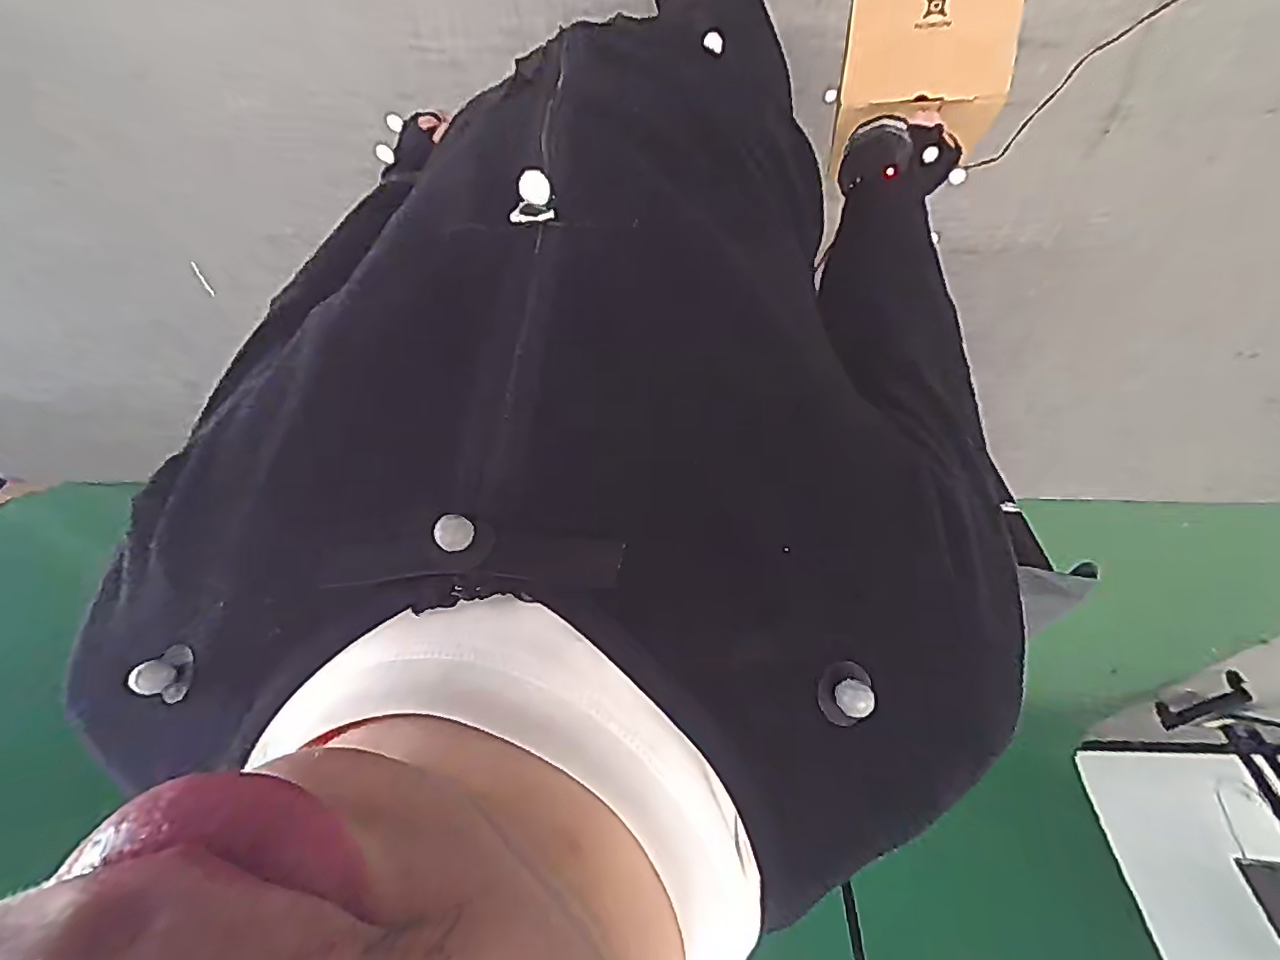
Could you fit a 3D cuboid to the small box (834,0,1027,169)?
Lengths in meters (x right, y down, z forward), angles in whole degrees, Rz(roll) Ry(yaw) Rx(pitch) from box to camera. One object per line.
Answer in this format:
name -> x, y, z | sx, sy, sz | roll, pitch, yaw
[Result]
small box -> 0.329, -0.492, 0.637 | 0.168, 0.176, 0.179 | 9, 96, 14
